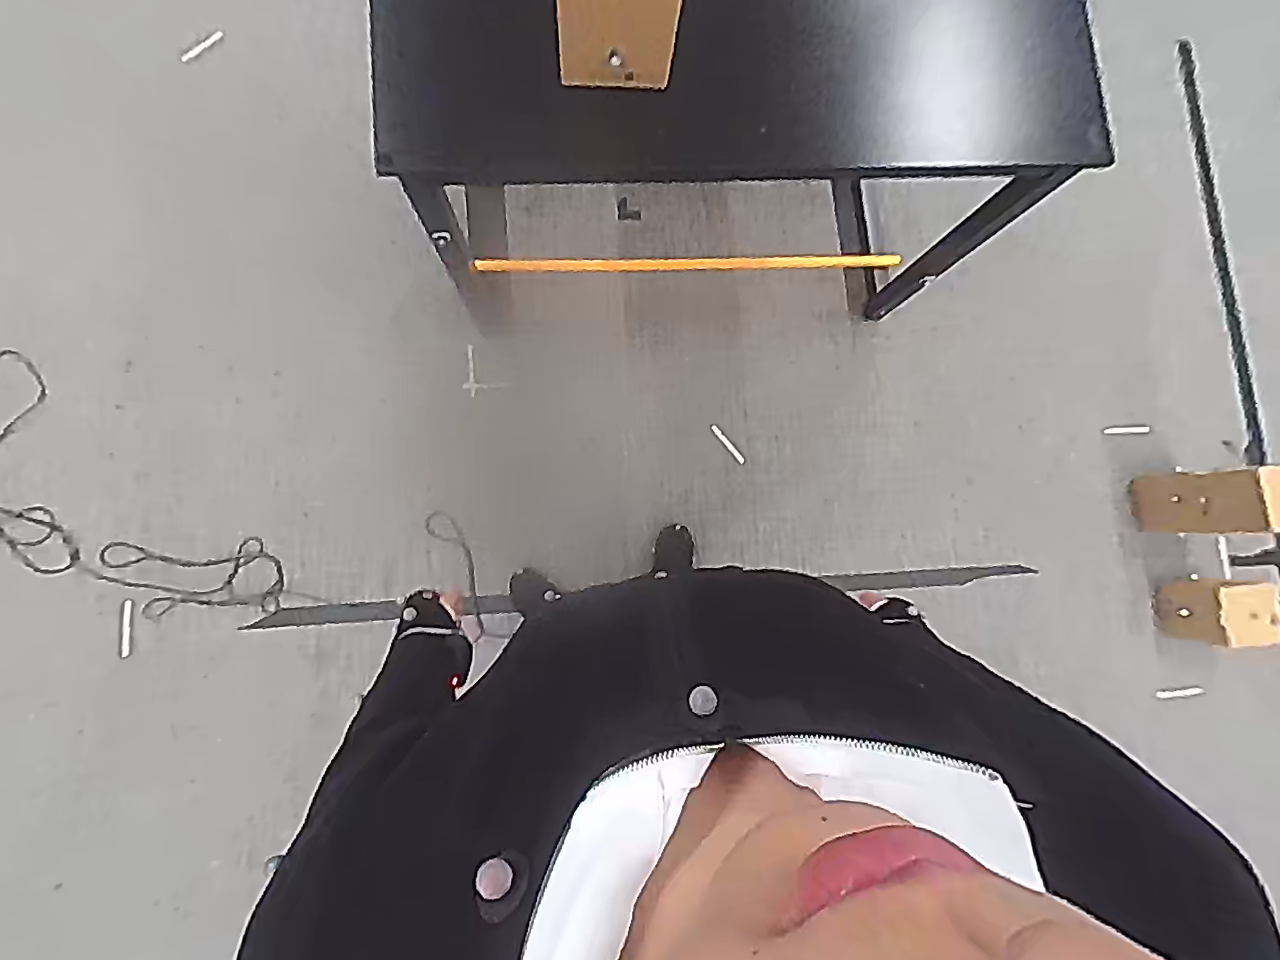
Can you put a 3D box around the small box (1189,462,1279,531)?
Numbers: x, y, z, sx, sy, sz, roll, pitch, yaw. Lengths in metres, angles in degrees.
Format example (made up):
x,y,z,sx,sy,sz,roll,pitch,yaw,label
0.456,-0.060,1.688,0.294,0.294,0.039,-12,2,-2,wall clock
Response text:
x,y,z,sx,sy,sz,roll,pitch,yaw,label
1.621,0.043,1.419,0.179,0.176,0.168,-8,84,-4,small box

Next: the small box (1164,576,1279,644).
x,y,z,sx,sy,sz,roll,pitch,yaw,label
1.667,0.369,1.557,0.179,0.176,0.168,-4,85,-4,small box

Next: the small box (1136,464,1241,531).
x,y,z,sx,sy,sz,roll,pitch,yaw,label
1.609,0.055,1.580,0.168,0.176,0.179,-5,85,-5,small box

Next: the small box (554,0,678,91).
x,y,z,sx,sy,sz,roll,pitch,yaw,label
-0.040,-0.711,0.778,0.168,0.176,0.179,-2,84,-5,small box
